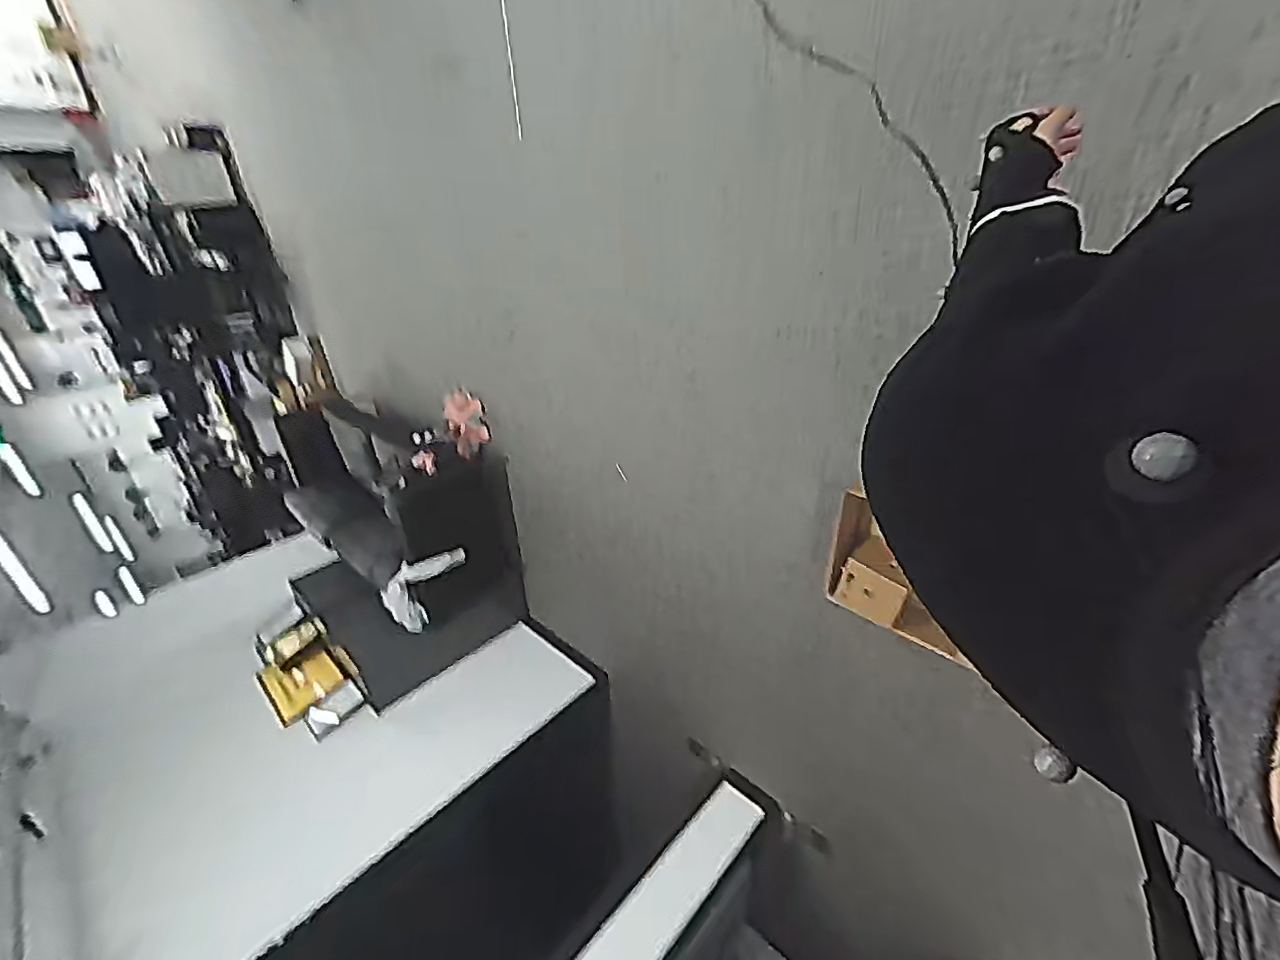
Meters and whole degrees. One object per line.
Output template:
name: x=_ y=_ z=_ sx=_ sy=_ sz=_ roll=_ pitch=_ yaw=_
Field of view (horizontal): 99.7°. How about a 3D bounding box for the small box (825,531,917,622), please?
small box: x=0.690 y=0.278 z=1.611 sx=0.179 sy=0.176 sz=0.168 roll=32 pitch=131 yaw=30
